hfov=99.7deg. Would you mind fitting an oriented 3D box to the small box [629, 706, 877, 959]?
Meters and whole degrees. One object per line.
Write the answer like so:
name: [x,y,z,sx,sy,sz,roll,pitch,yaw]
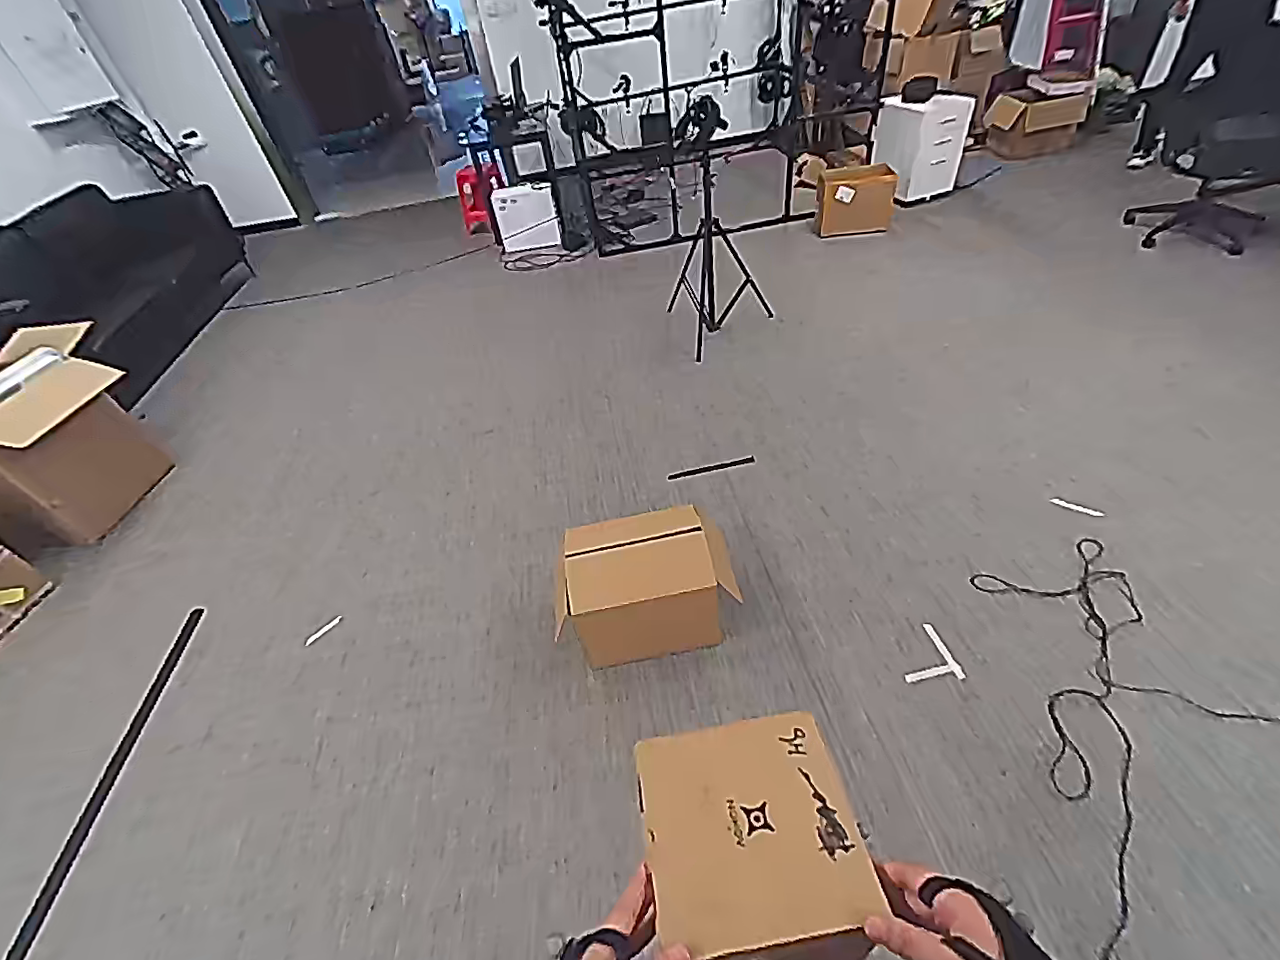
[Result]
small box: [0.093,0.345,0.510,0.179,0.176,0.168,-9,39,-2]
